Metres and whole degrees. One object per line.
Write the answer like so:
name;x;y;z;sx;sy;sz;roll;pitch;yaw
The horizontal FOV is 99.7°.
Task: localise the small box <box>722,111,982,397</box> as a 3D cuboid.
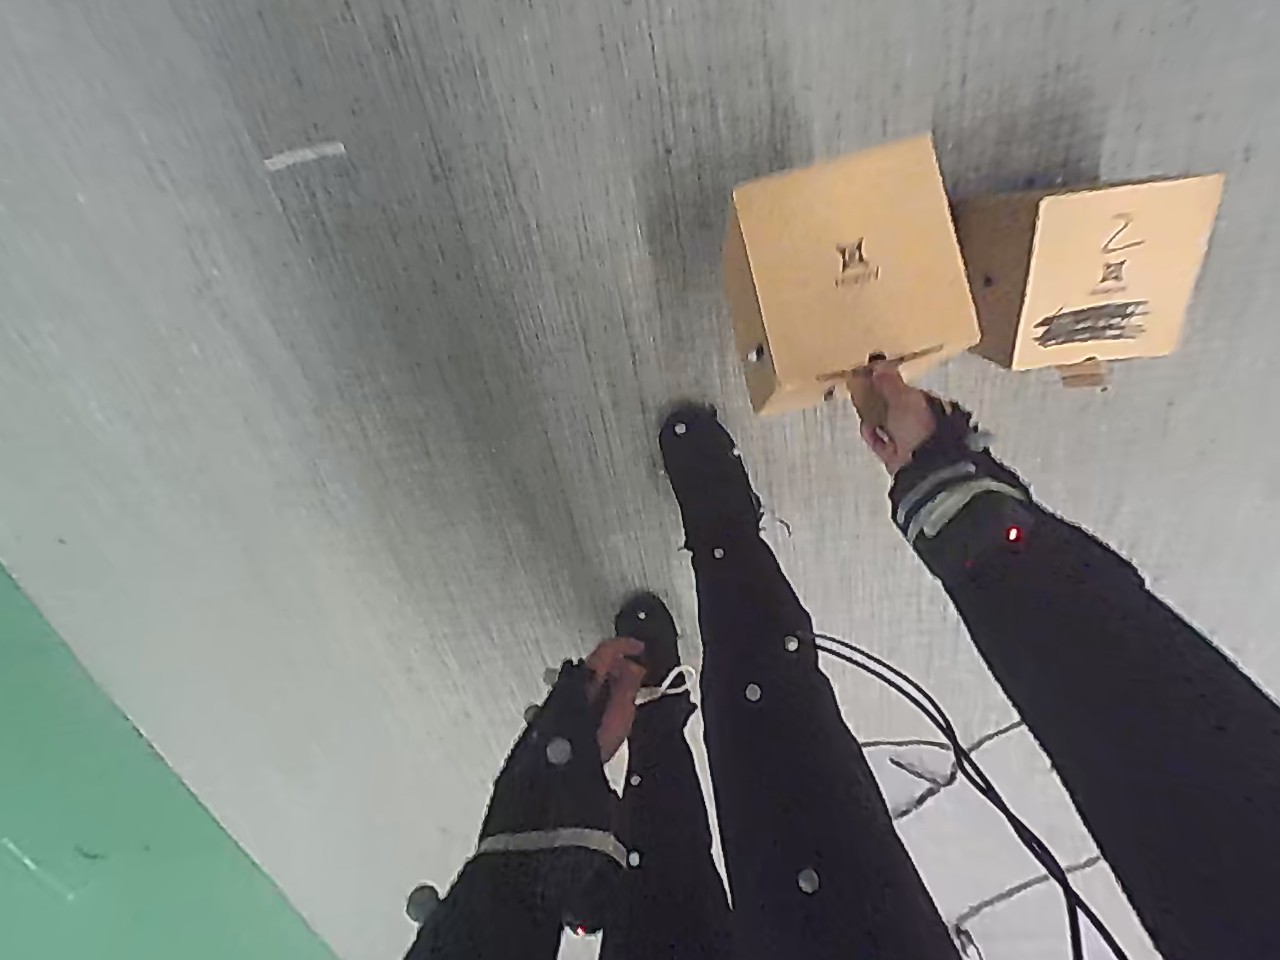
small box;0.178;-0.192;0.513;0.168;0.176;0.179;-13;88;5
